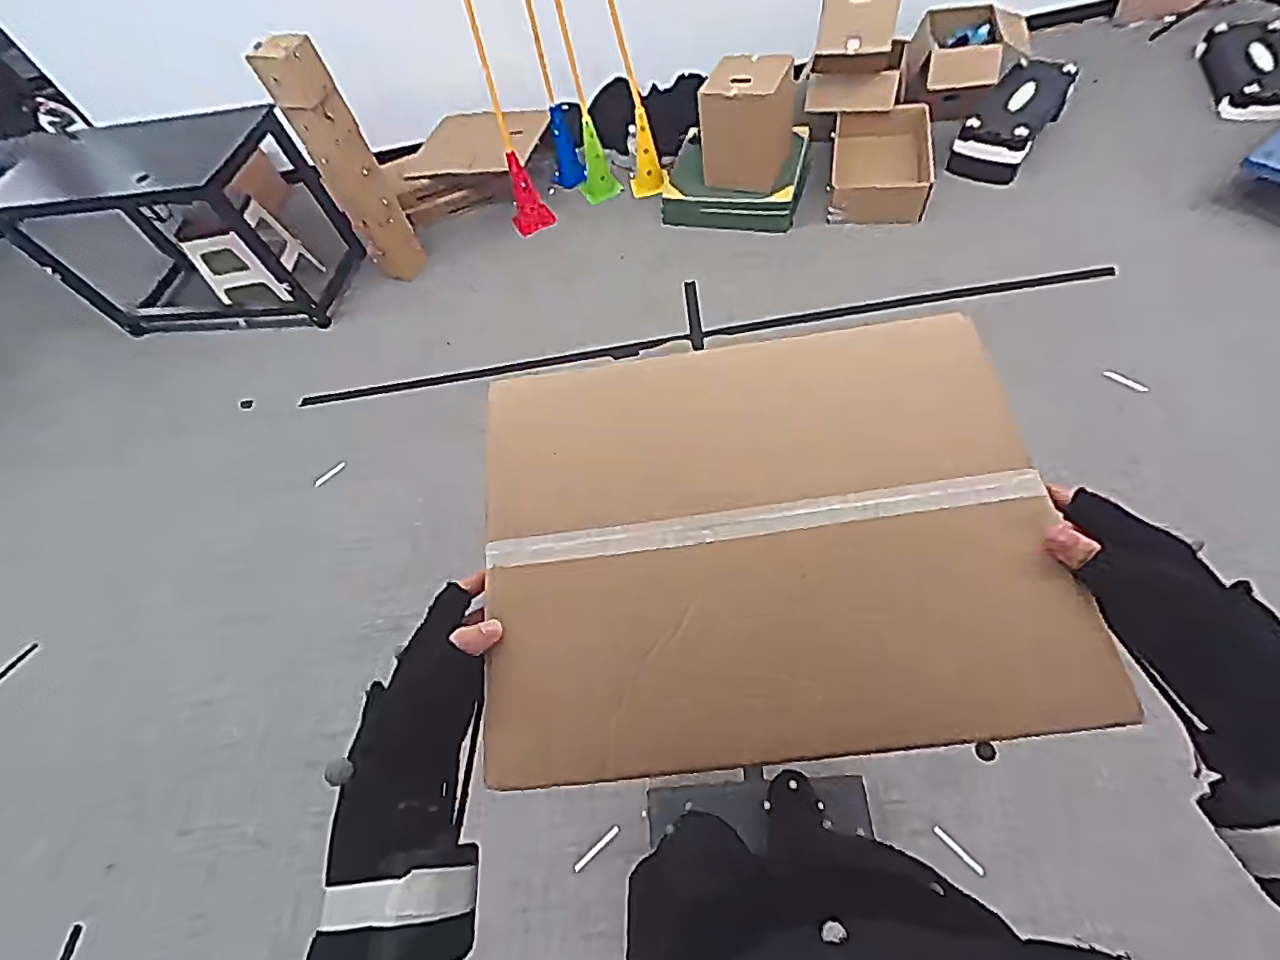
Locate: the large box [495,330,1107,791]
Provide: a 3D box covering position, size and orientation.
[{"bbox_3d":[0.101,0.095,0.543,0.408,0.320,0.320,-8,66,3],"label":"large box"}]

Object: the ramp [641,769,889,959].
[{"bbox_3d":[0.279,1.144,1.069,0.509,0.206,0.991,-7,59,4],"label":"ramp"}]
